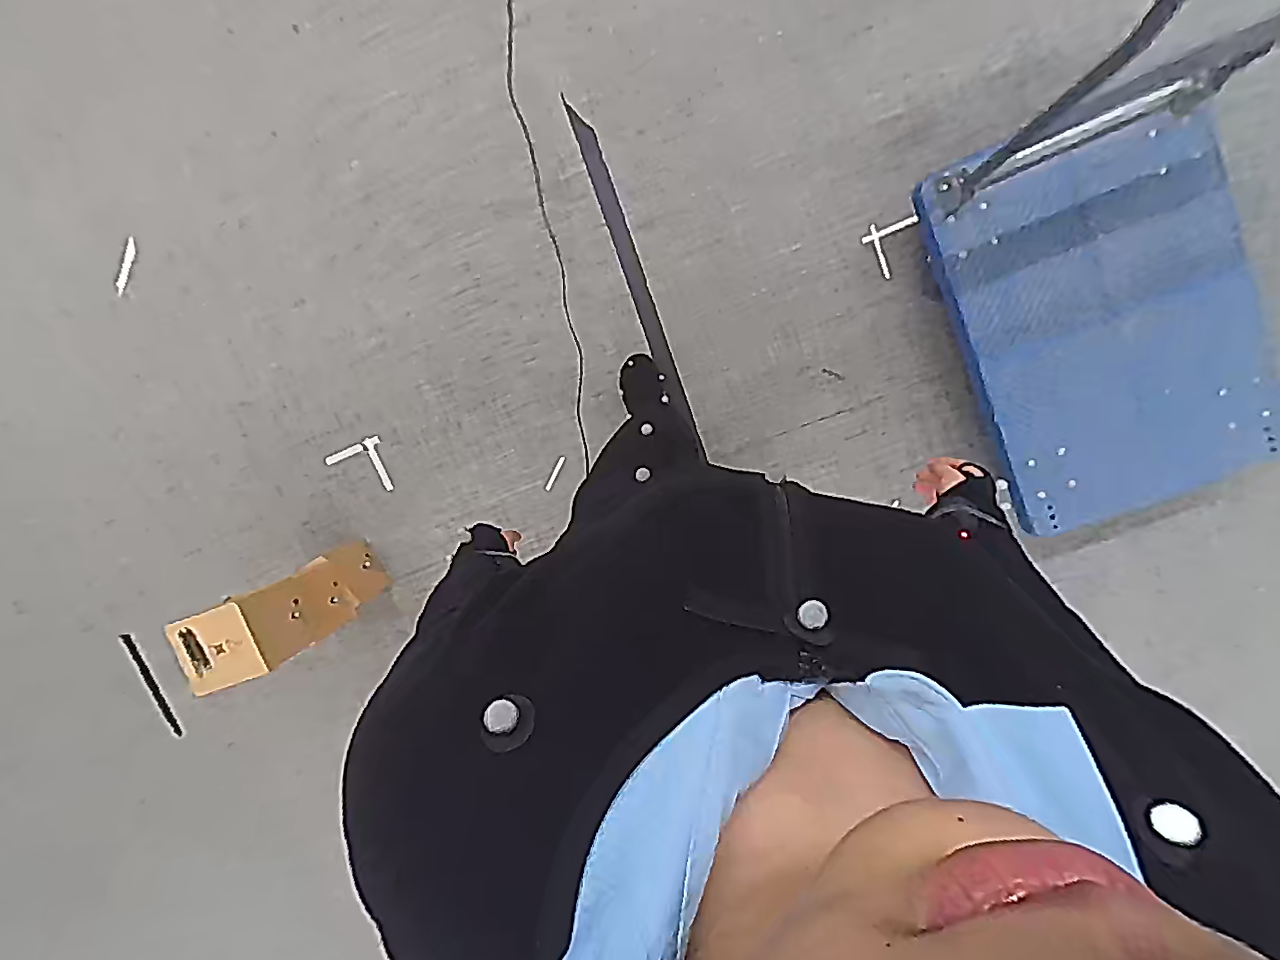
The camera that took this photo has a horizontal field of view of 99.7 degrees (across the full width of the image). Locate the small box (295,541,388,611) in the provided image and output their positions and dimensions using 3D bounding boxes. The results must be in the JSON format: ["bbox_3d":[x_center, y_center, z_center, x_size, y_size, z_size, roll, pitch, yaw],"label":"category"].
[{"bbox_3d":[-0.849,0.296,1.504,0.179,0.176,0.168,-32,96,7],"label":"small box"}]

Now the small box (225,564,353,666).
[{"bbox_3d":[-0.863,0.329,1.346,0.179,0.176,0.168,-20,97,6],"label":"small box"}]
